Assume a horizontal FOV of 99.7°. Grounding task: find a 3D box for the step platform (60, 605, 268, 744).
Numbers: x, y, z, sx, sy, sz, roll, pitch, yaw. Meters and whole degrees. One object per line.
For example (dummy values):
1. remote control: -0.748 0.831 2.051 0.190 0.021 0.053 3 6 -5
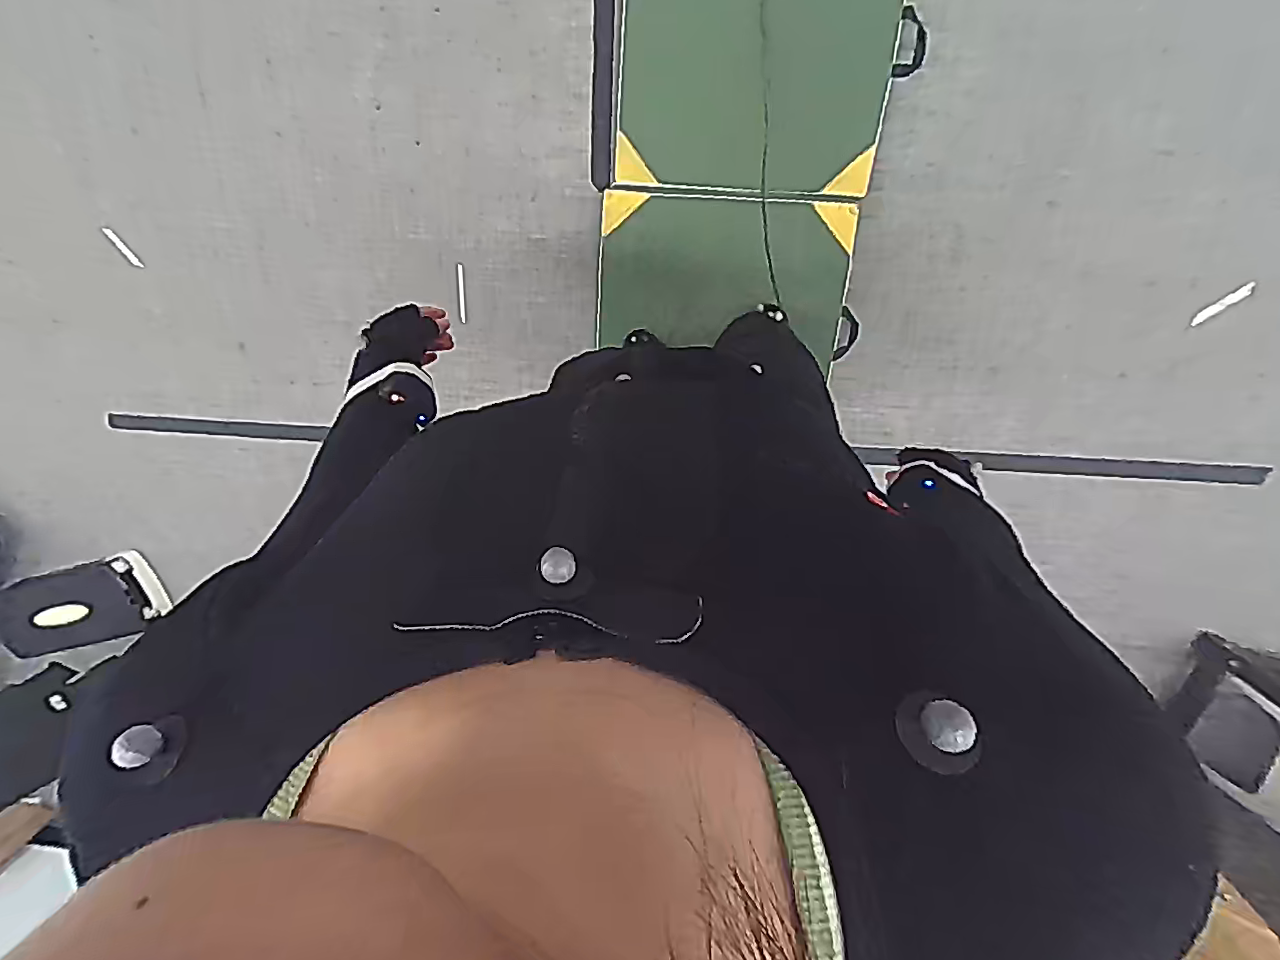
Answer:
1. step platform: -1.728 0.710 1.962 0.684 0.204 0.286 -24 104 13
